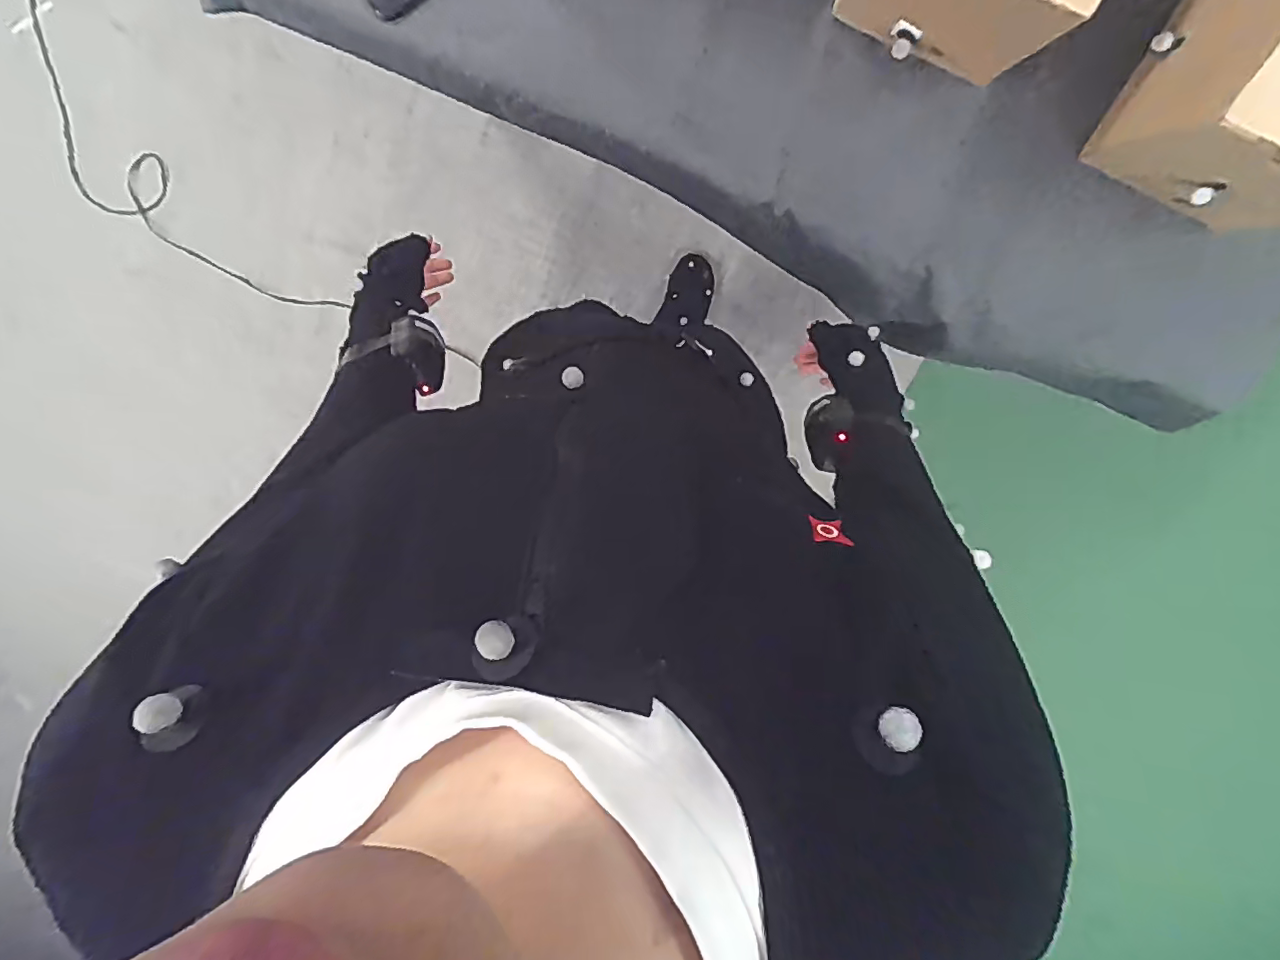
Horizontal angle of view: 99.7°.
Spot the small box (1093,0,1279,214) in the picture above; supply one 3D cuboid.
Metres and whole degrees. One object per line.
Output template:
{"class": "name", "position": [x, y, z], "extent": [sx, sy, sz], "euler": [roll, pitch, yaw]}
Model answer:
{"class": "small box", "position": [0.531, -0.336, 0.440], "extent": [0.168, 0.176, 0.179], "euler": [24, 114, -4]}

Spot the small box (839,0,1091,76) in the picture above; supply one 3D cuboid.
{"class": "small box", "position": [0.277, -0.462, 0.419], "extent": [0.168, 0.176, 0.179], "euler": [22, 114, -1]}
